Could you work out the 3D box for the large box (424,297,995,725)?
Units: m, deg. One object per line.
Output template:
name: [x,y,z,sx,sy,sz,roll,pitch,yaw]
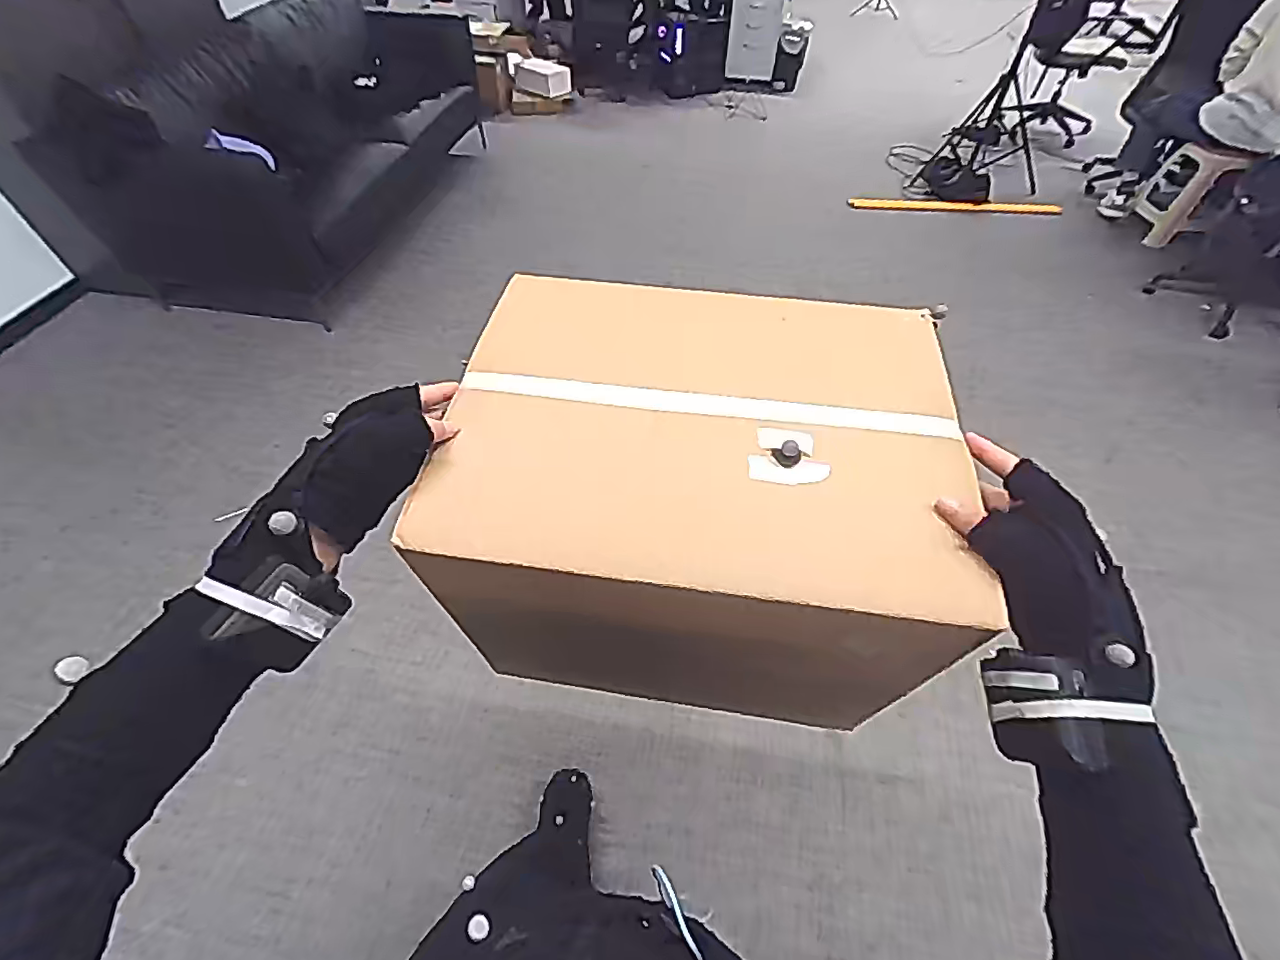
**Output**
large box: [0.057,0.041,0.576,0.408,0.320,0.320,7,55,4]
